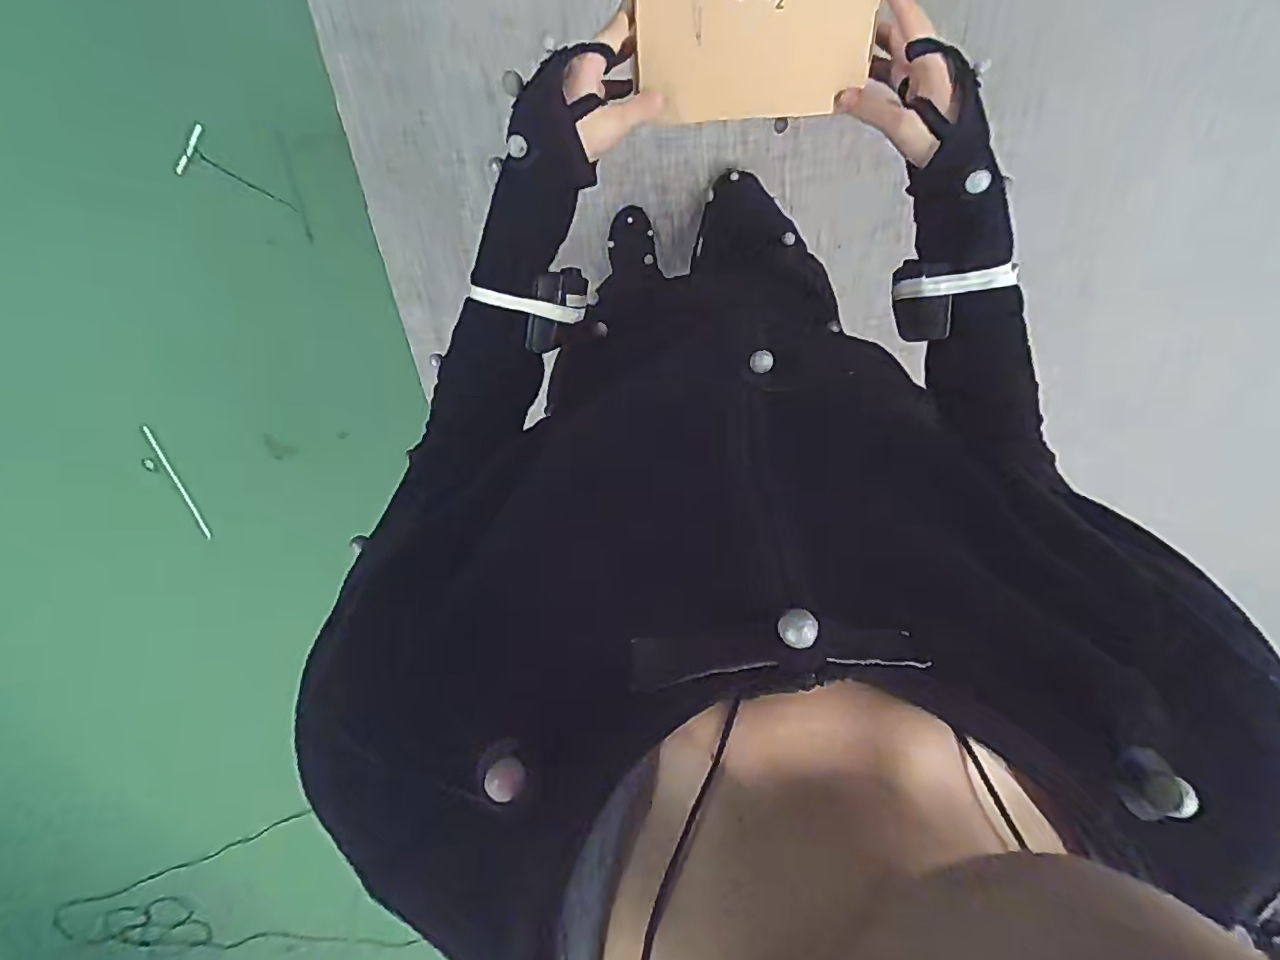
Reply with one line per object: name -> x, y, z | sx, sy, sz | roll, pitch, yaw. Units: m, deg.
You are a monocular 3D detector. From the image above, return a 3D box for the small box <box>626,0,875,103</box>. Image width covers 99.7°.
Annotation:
small box -> 0.077, -0.411, 0.436 | 0.179, 0.176, 0.168 | -3, 126, 0
